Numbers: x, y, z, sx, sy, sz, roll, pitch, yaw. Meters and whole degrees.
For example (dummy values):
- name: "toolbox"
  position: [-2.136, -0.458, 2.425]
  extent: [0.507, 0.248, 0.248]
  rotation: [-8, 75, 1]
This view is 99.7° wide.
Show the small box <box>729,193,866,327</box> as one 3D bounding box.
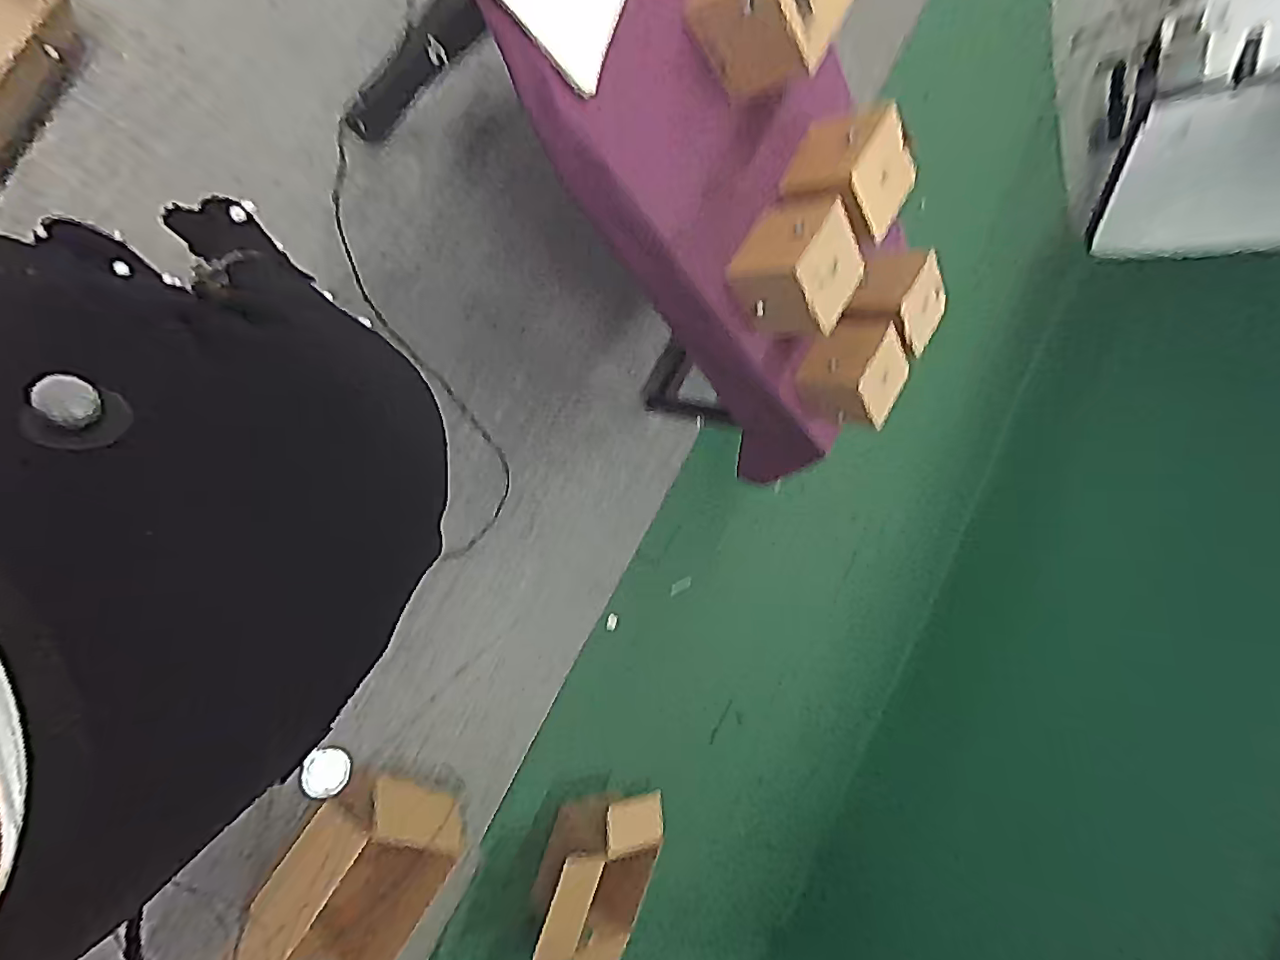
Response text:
- name: "small box"
  position: [0.305, -0.422, 1.056]
  extent: [0.168, 0.176, 0.179]
  rotation: [43, 74, -40]

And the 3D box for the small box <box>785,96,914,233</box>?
- name: "small box"
  position: [0.417, -0.618, 1.095]
  extent: [0.168, 0.176, 0.179]
  rotation: [36, 79, -41]

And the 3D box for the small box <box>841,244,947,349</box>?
- name: "small box"
  position: [0.610, -0.443, 1.314]
  extent: [0.179, 0.176, 0.168]
  rotation: [-55, 131, -12]
